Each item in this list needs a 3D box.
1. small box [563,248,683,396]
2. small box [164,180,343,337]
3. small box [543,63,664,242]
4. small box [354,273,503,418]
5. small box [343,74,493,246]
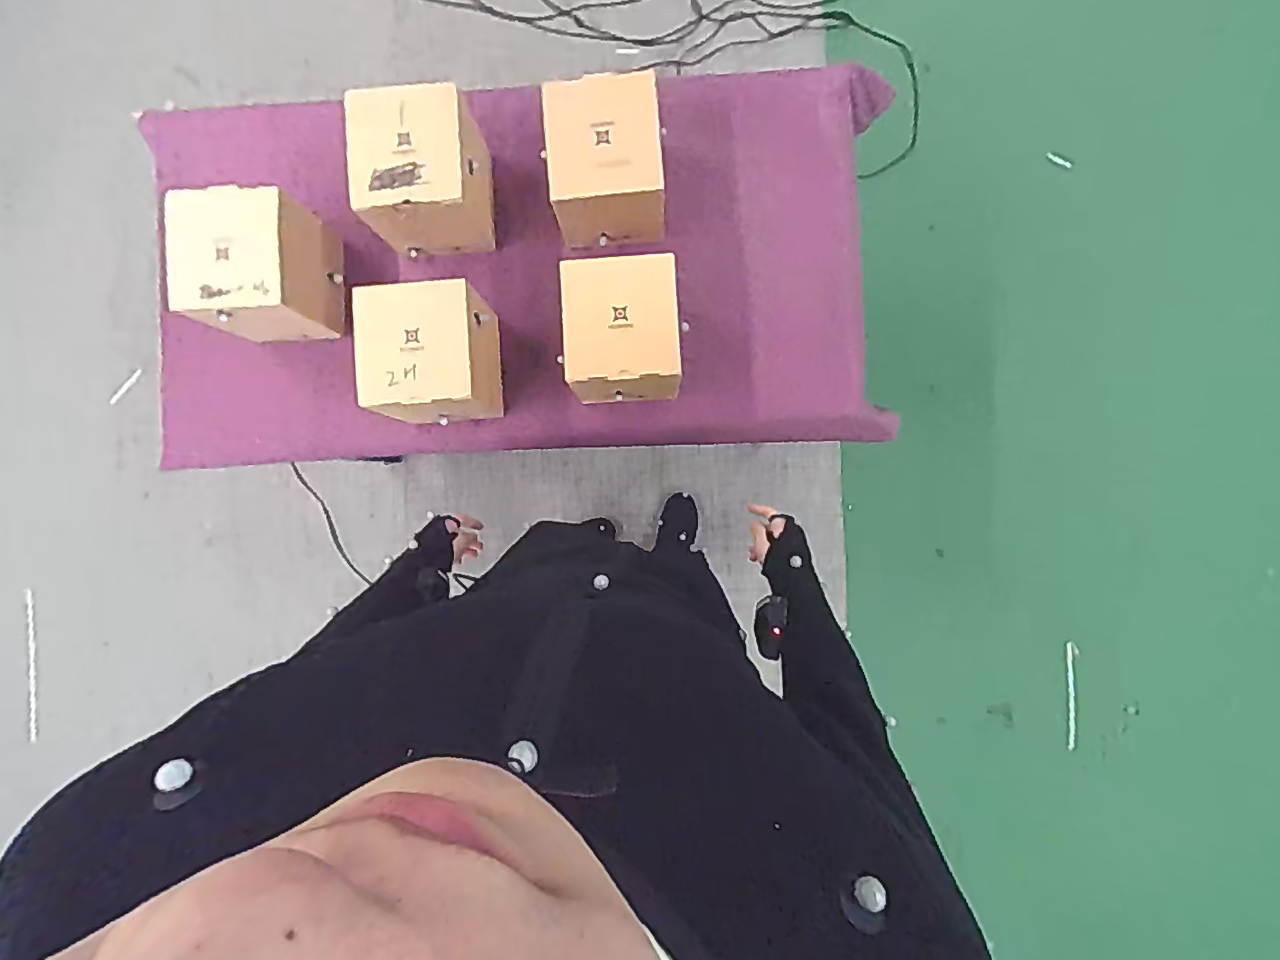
[{"bbox_3d":[-0.025,-0.236,0.841,0.168,0.176,0.179,-4,89,1],"label":"small box"},{"bbox_3d":[-0.593,-0.337,0.849,0.168,0.176,0.179,-2,89,2],"label":"small box"},{"bbox_3d":[-0.051,-0.499,0.845,0.168,0.176,0.179,-5,91,2],"label":"small box"},{"bbox_3d":[-0.319,-0.200,0.843,0.168,0.176,0.179,-4,88,1],"label":"small box"},{"bbox_3d":[-0.336,-0.484,0.848,0.168,0.176,0.179,-4,89,1],"label":"small box"}]
